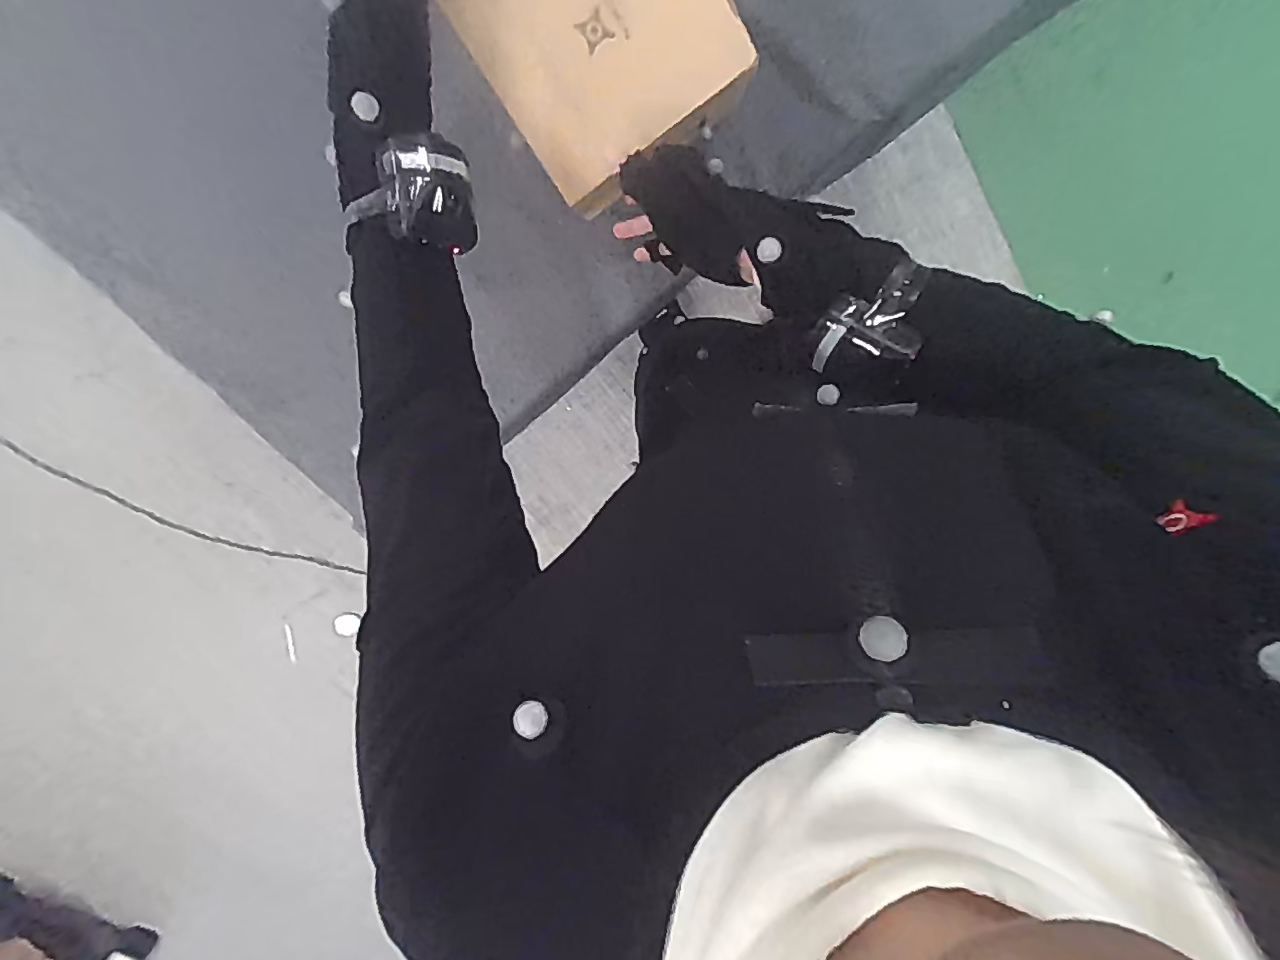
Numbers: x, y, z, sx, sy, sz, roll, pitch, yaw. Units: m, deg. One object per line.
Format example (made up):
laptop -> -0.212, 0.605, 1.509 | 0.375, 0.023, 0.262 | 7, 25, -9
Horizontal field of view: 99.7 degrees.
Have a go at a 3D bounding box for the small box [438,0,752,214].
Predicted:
small box -> -0.031, -0.359, 0.467 | 0.179, 0.176, 0.168 | -33, 107, 13

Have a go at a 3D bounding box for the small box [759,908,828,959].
small box -> 0.479, 1.471, 1.681 | 0.179, 0.176, 0.168 | -3, 113, 2
